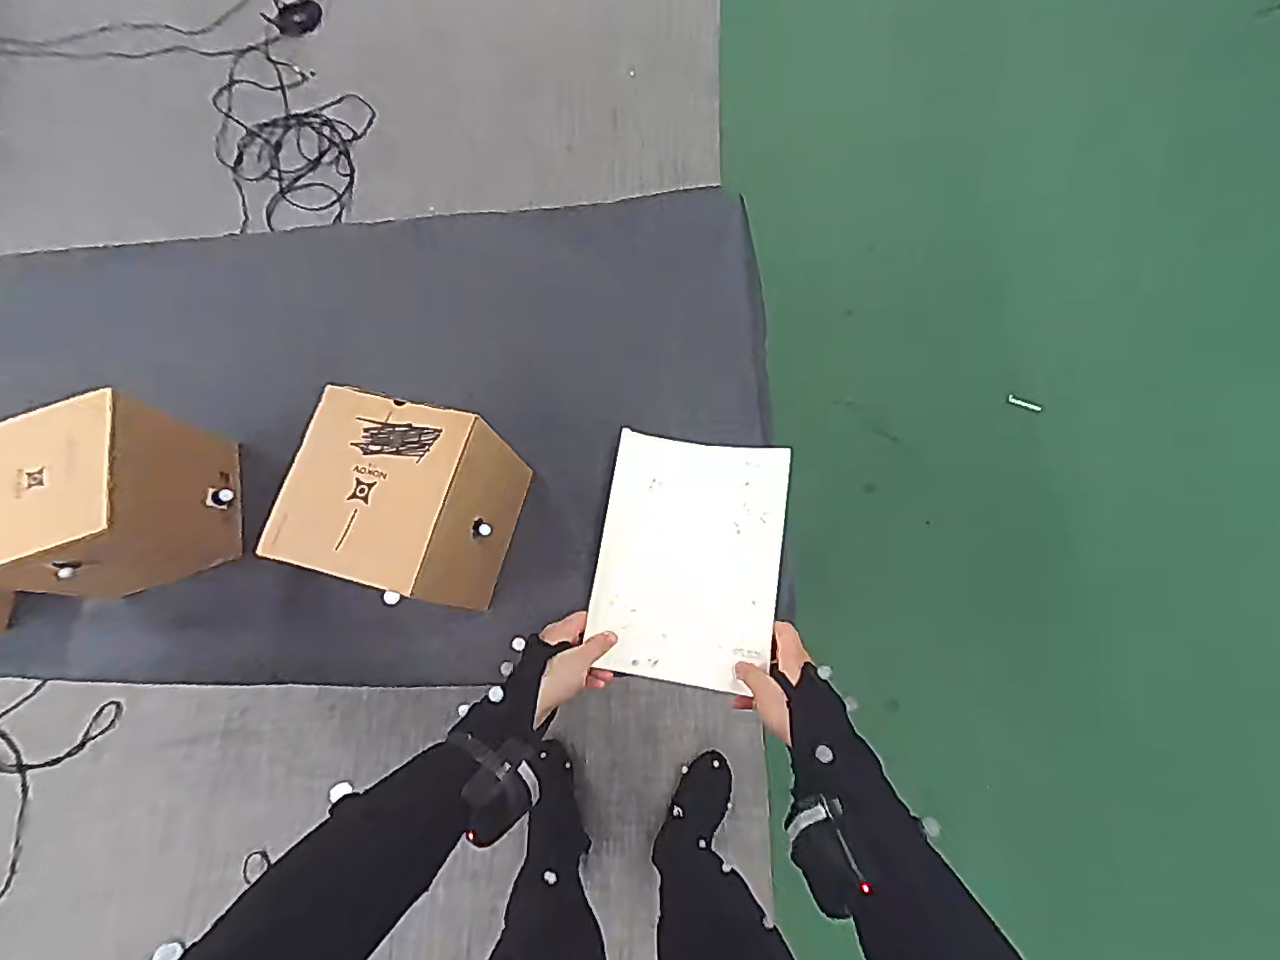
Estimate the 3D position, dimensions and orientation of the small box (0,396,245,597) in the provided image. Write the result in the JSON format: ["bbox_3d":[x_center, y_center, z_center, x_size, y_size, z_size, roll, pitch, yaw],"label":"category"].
[{"bbox_3d":[-0.615,0.031,0.636,0.179,0.176,0.168,-18,72,1],"label":"small box"}]

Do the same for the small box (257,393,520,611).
[{"bbox_3d":[-0.246,0.032,0.582,0.168,0.176,0.179,12,75,12],"label":"small box"}]
